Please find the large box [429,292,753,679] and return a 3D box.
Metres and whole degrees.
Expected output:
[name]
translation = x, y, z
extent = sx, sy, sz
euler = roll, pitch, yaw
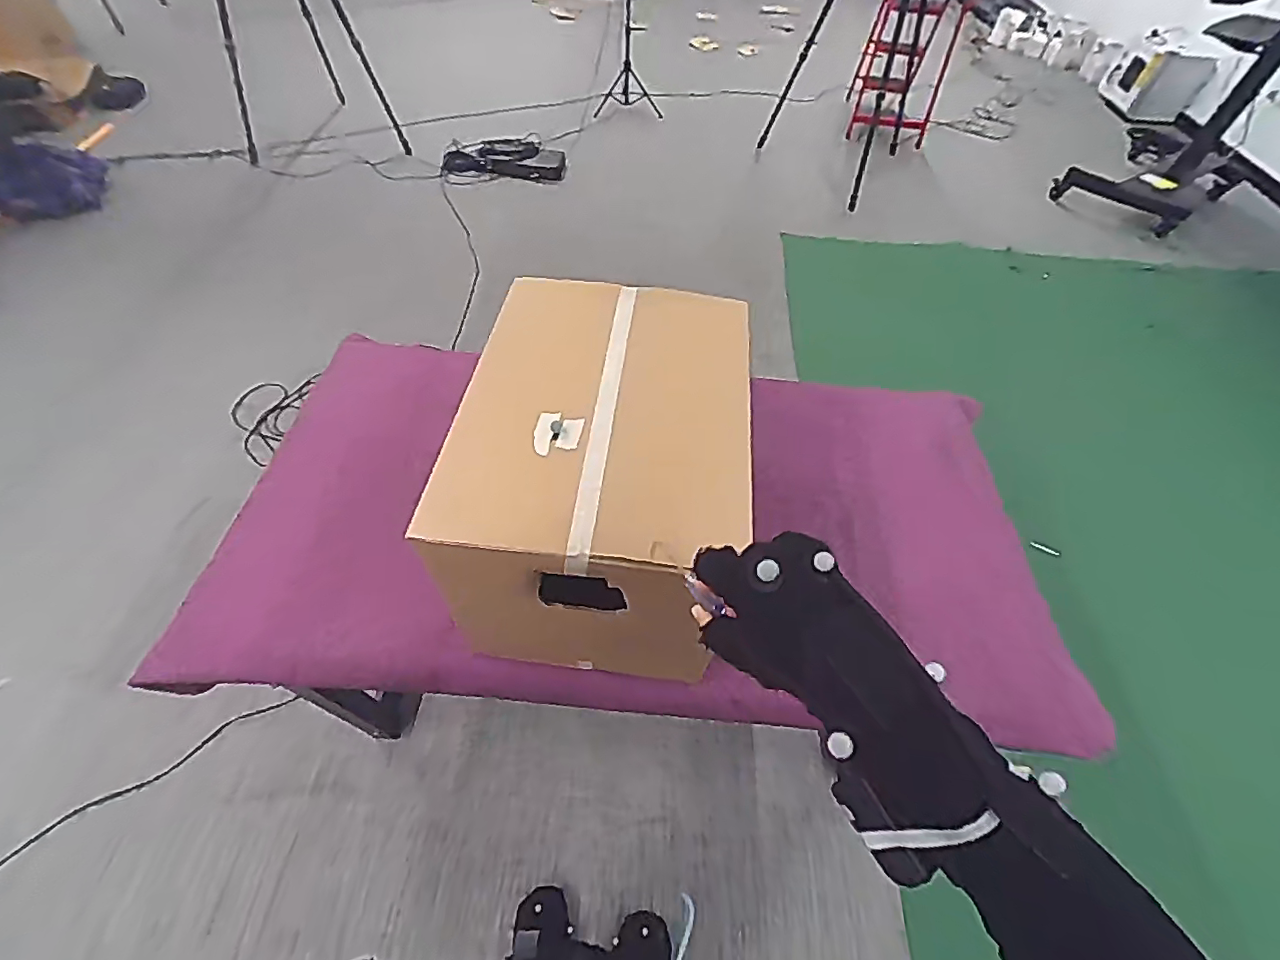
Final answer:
[large box]
translation = -0.038, 0.009, 0.735
extent = 0.320, 0.320, 0.408
euler = 7, 54, 1
